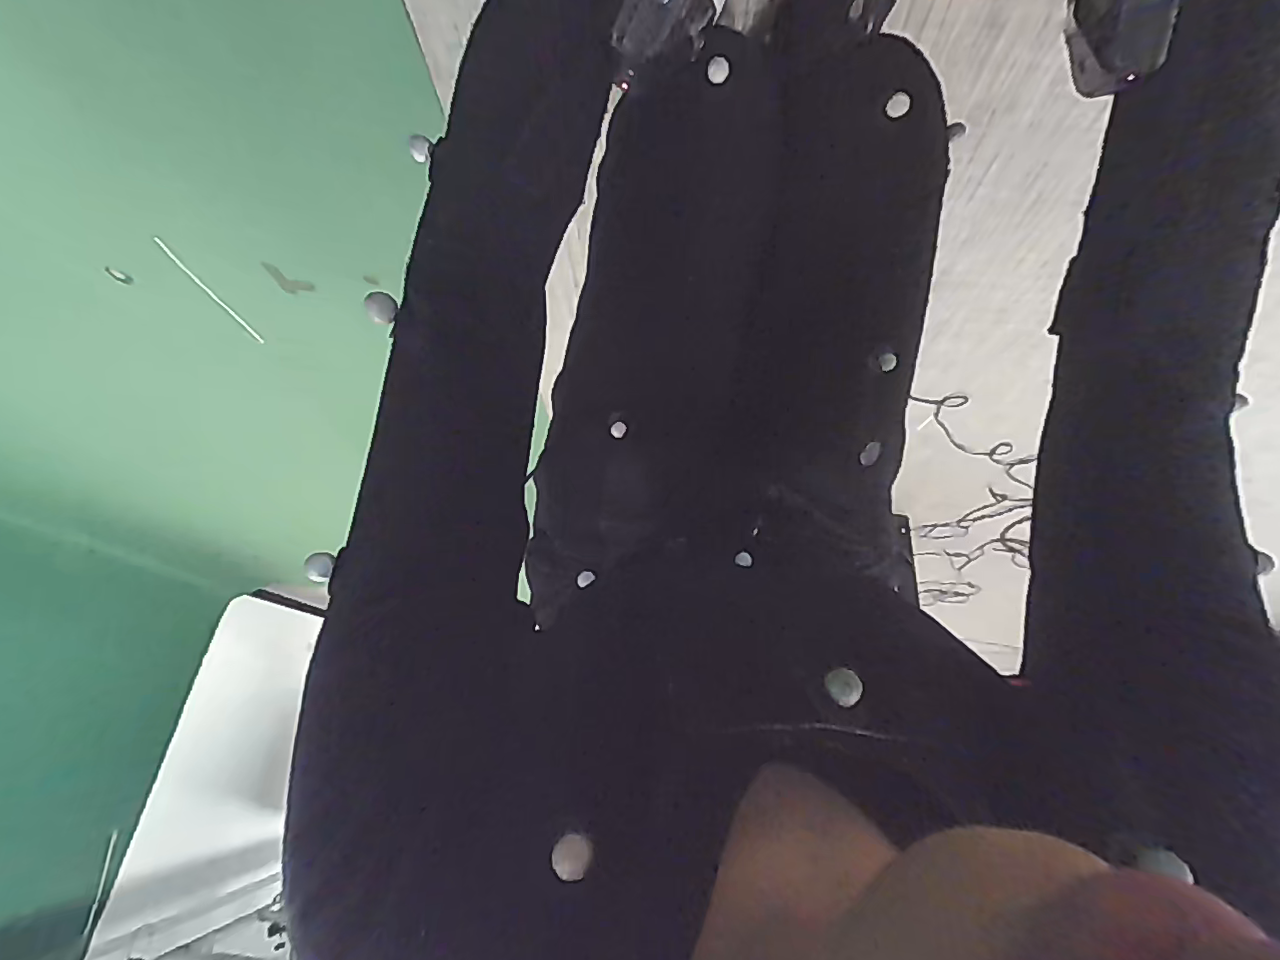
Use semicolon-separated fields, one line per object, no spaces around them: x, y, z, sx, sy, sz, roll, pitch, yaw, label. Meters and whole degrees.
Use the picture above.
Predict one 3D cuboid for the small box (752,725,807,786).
0.471;0.933;1.843;0.168;0.176;0.179;2;156;10;small box
